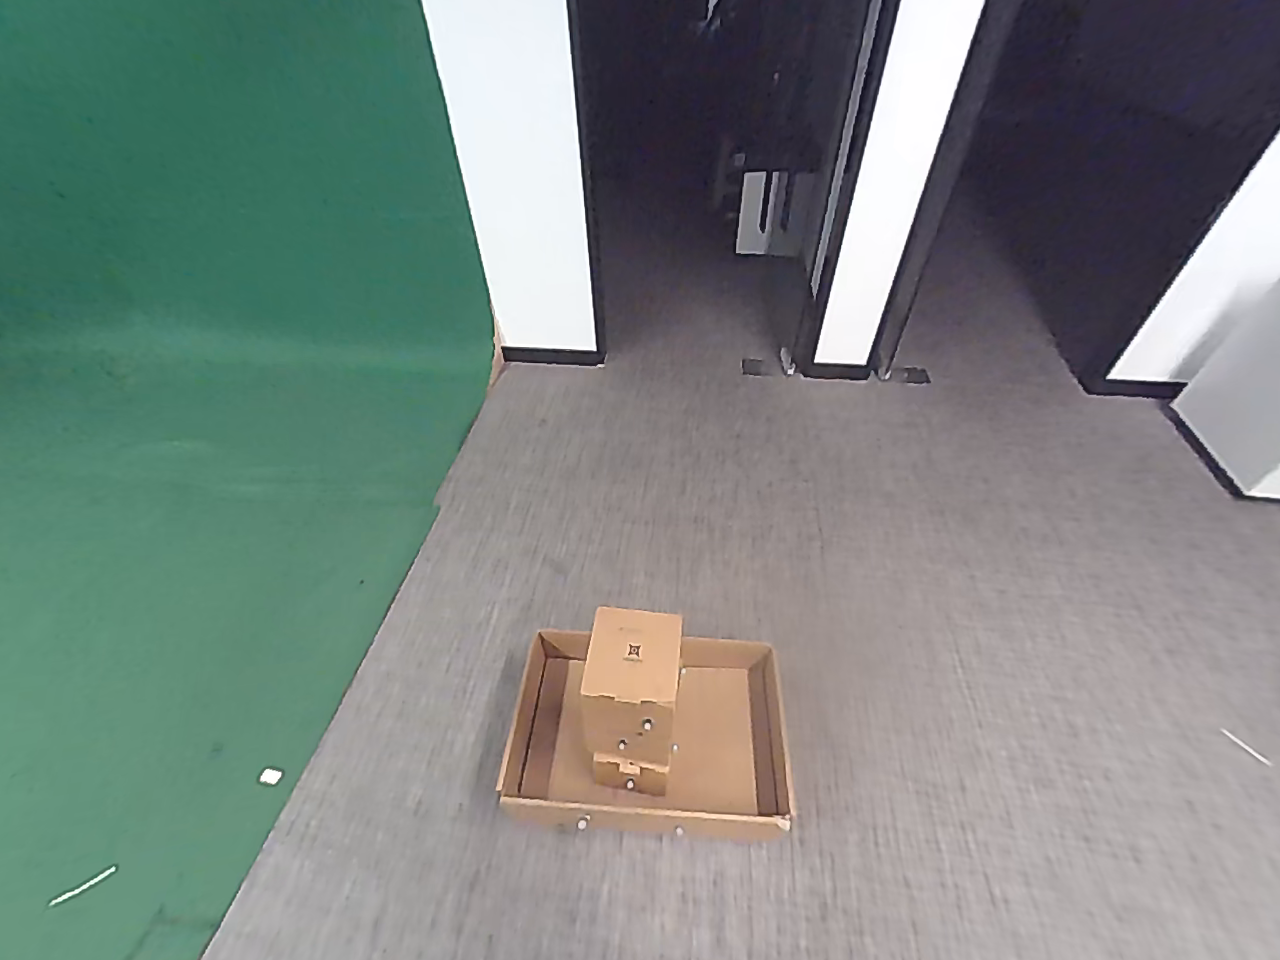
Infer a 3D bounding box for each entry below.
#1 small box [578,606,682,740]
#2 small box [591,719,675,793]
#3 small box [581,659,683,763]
[{"bbox_3d":[-0.014,0.367,1.021,0.168,0.176,0.179,6,43,4],"label":"small box"},{"bbox_3d":[-0.009,0.598,1.251,0.168,0.176,0.179,8,46,7],"label":"small box"},{"bbox_3d":[-0.012,0.475,1.142,0.179,0.176,0.168,8,45,10],"label":"small box"}]
